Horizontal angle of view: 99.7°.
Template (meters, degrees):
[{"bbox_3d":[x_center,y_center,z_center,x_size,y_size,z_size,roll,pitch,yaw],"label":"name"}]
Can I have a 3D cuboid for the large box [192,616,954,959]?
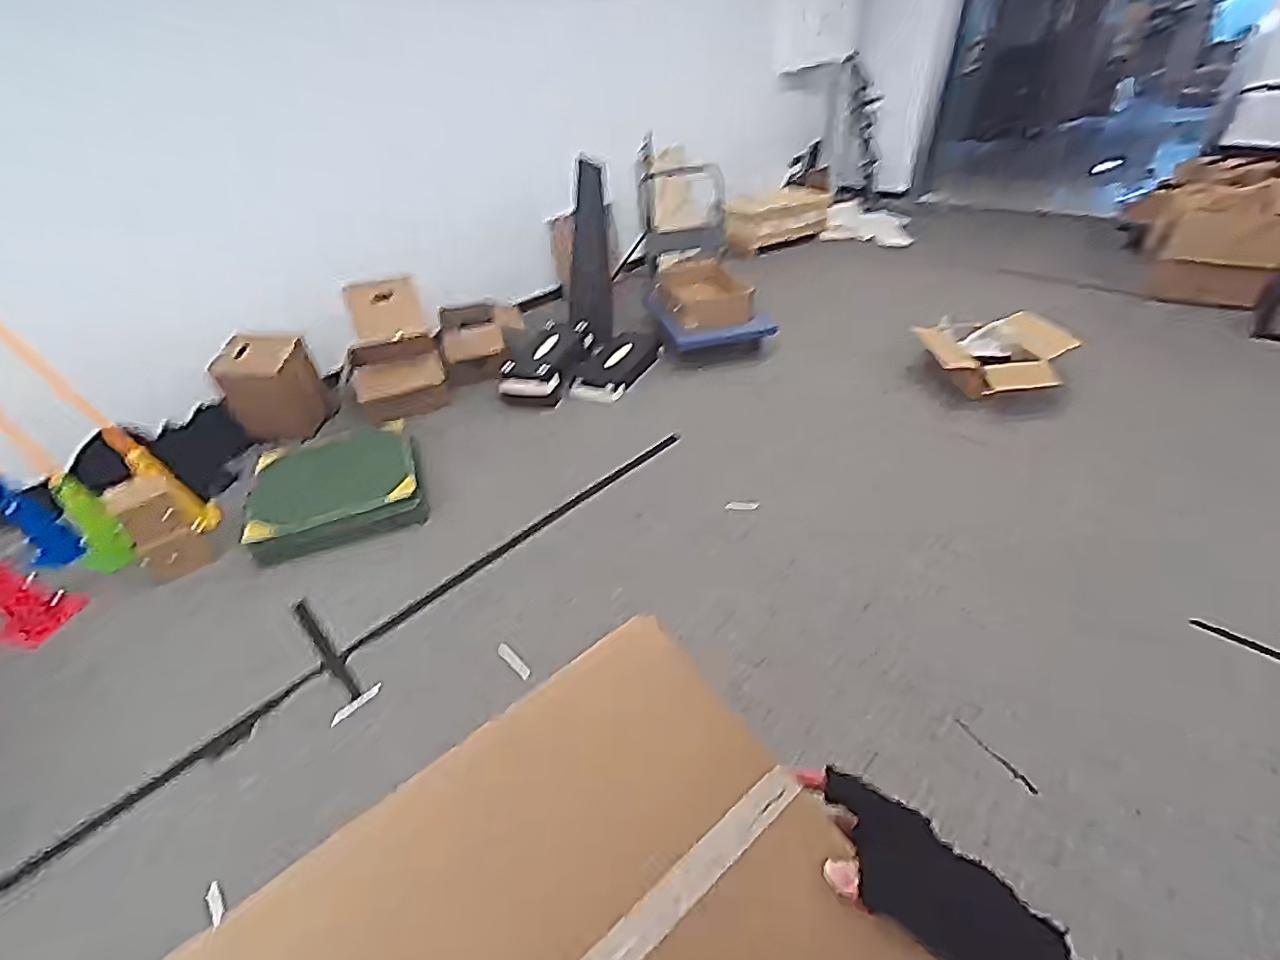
[{"bbox_3d":[-0.052,0.394,0.412,0.408,0.320,0.320,-32,59,-23],"label":"large box"}]
